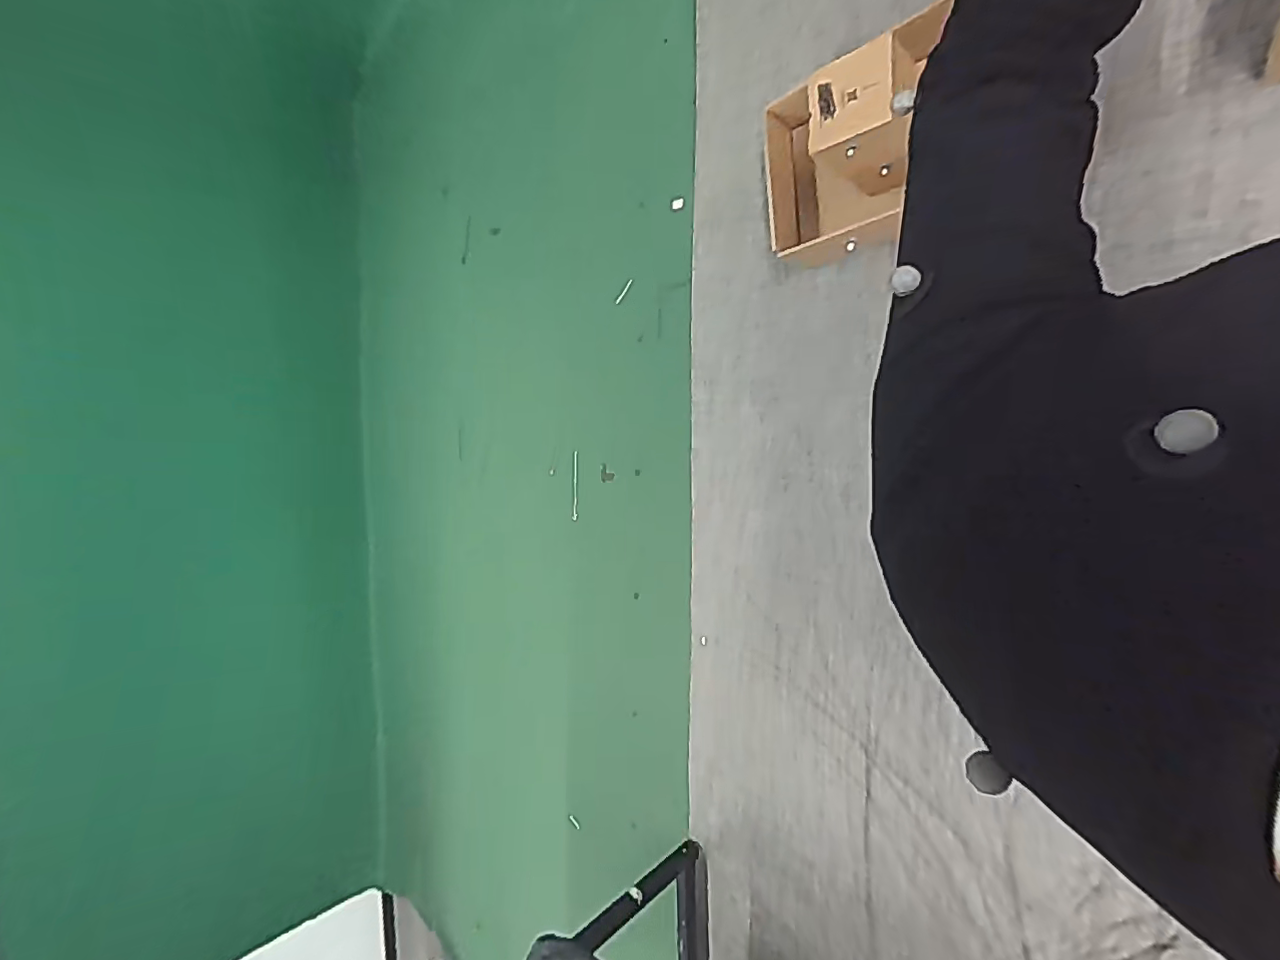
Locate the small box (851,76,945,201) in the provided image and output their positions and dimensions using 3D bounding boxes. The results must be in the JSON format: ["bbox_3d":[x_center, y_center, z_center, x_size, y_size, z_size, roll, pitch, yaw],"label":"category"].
[{"bbox_3d":[0.600,-0.793,1.280,0.179,0.176,0.168,-3,92,43],"label":"small box"}]

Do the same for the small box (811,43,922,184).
[{"bbox_3d":[0.486,-0.770,1.162,0.179,0.176,0.168,1,94,43],"label":"small box"}]
